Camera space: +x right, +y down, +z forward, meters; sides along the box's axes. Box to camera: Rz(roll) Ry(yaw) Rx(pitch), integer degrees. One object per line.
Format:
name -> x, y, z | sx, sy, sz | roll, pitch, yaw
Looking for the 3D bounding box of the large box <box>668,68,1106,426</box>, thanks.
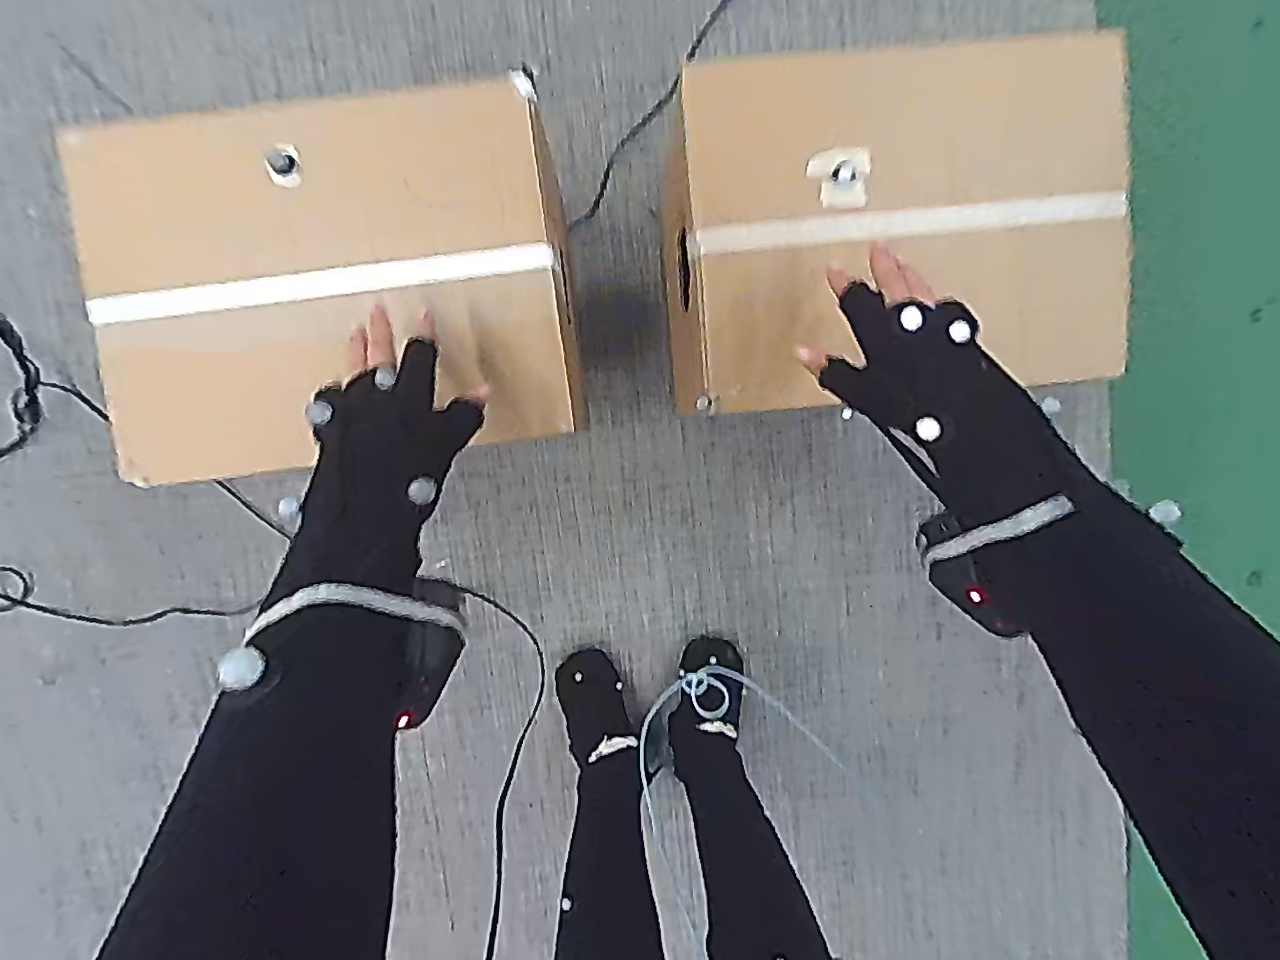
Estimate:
large box -> 0.255, -0.240, 0.676 | 0.408, 0.320, 0.320 | -5, 95, -1
